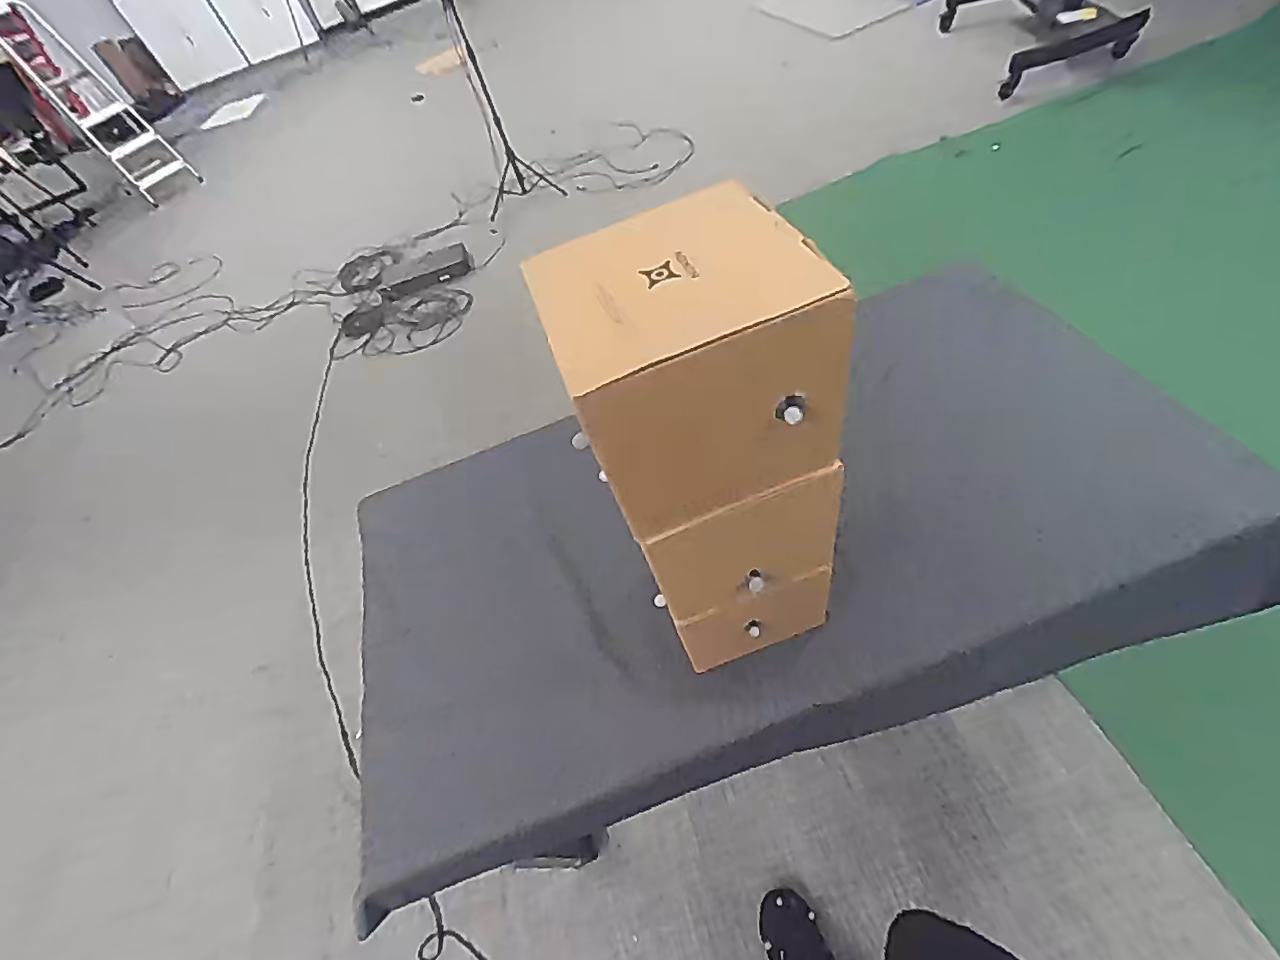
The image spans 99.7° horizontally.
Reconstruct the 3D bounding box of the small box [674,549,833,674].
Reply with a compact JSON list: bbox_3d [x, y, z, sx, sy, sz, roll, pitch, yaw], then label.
[{"bbox_3d":[0.112,0.114,0.672,0.179,0.176,0.168,-23,52,-3],"label":"small box"}]

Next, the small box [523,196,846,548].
[{"bbox_3d":[0.033,-0.077,0.420,0.179,0.176,0.168,-23,51,-1],"label":"small box"}]

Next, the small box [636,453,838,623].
[{"bbox_3d":[0.074,0.018,0.546,0.179,0.176,0.168,-21,52,-1],"label":"small box"}]
